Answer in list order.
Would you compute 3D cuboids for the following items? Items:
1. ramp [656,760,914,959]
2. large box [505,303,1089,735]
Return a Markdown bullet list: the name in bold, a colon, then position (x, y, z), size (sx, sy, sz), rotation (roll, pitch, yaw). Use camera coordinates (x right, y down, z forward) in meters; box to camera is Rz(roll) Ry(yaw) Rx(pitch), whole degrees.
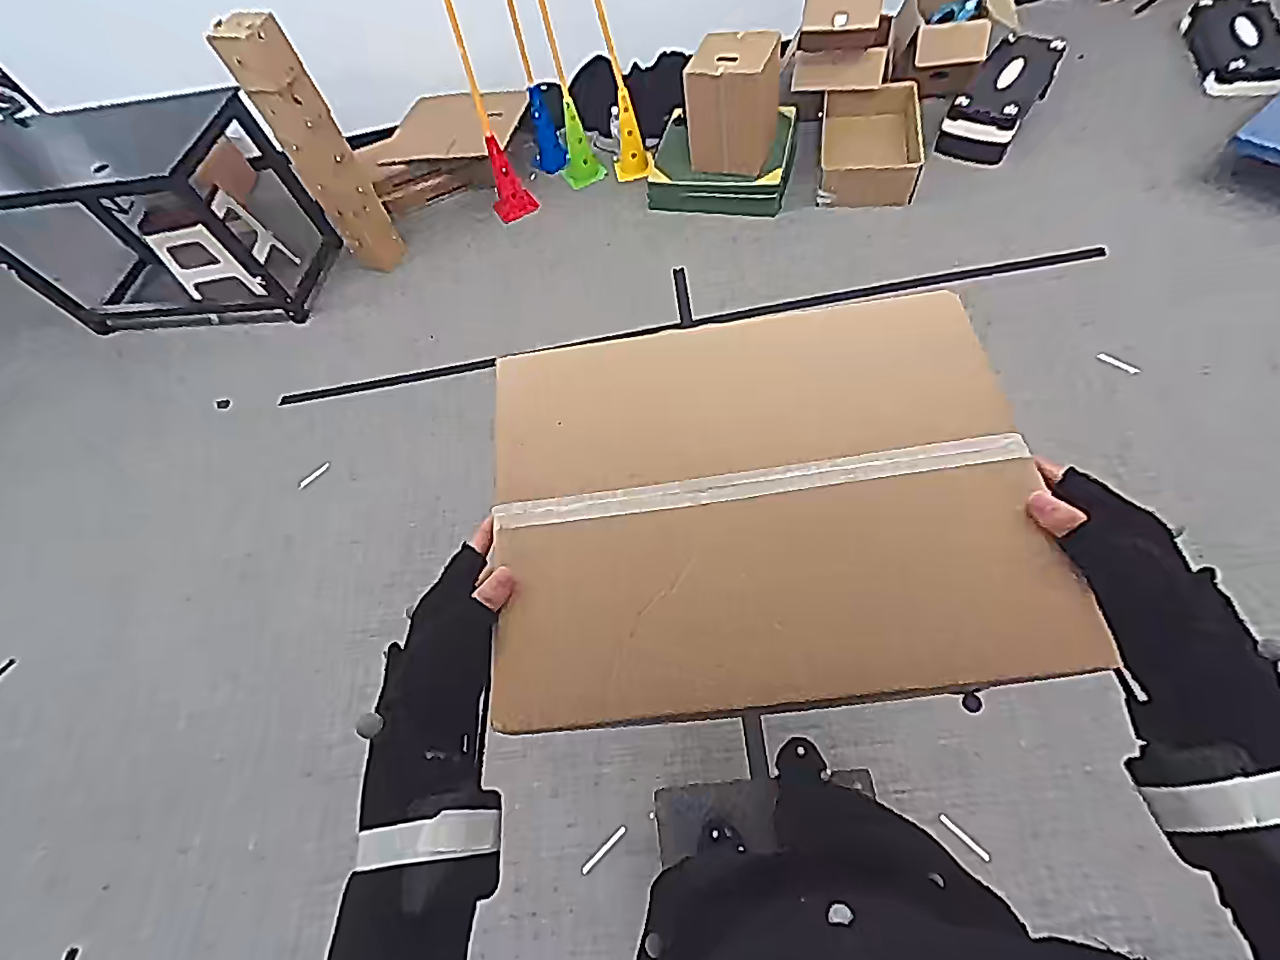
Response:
- **ramp**: position (0.335, 1.133, 1.080), size (0.509, 0.206, 0.991), rotation (-10, 61, 3)
- **large box**: position (0.106, 0.069, 0.564), size (0.408, 0.320, 0.320), rotation (-8, 65, 4)
